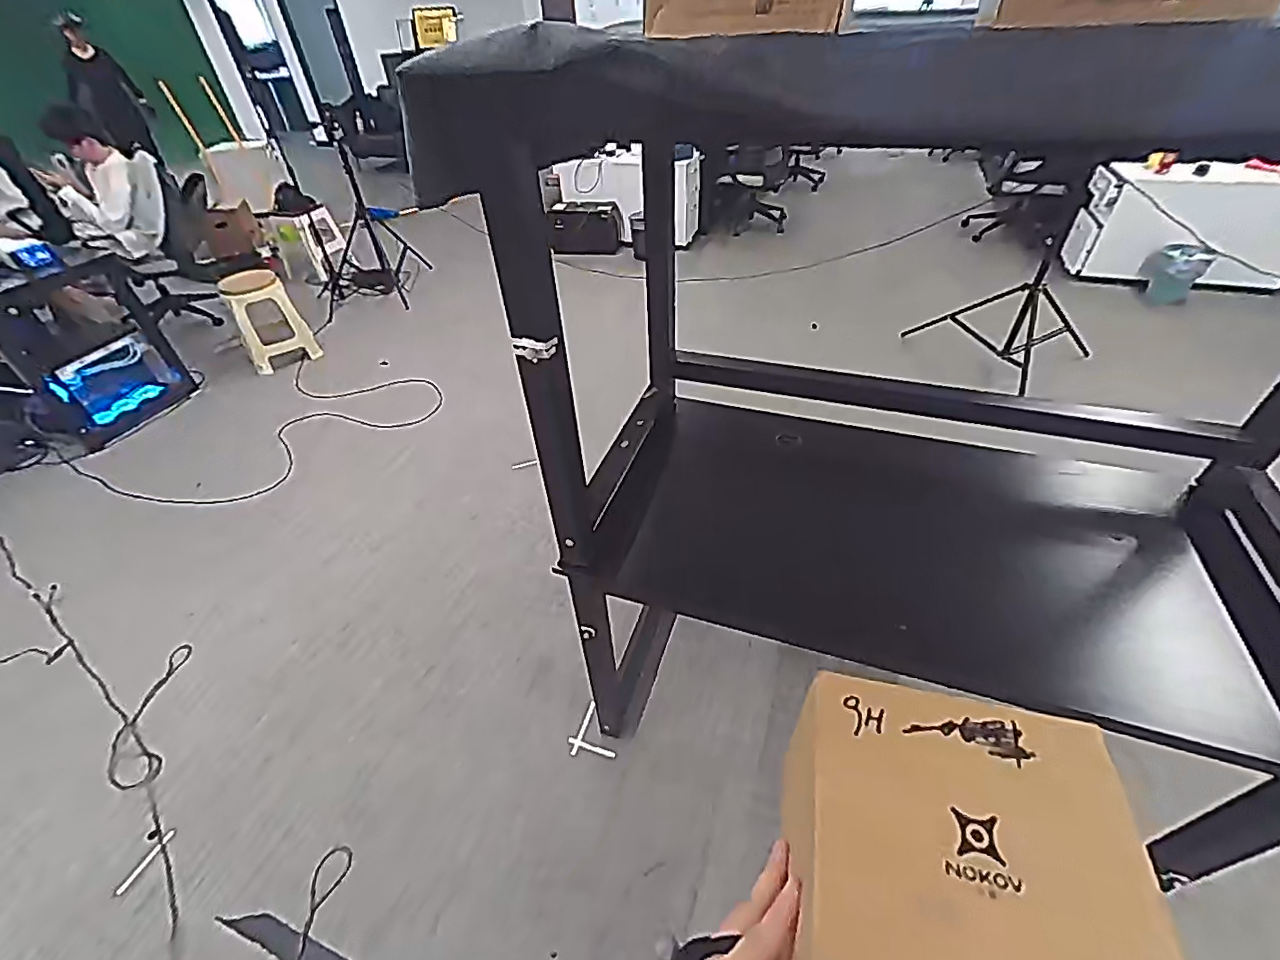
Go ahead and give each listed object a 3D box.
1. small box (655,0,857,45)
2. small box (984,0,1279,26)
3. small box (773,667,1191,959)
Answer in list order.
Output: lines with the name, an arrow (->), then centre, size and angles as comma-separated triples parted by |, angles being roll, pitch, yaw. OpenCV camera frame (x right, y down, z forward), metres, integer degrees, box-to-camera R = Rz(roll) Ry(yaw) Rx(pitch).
small box -> 0.111, -0.485, 0.460 | 0.168, 0.176, 0.179 | 12, 42, 15
small box -> 0.368, -0.433, 0.382 | 0.168, 0.176, 0.179 | 12, 42, 17
small box -> 0.178, 0.248, 0.330 | 0.168, 0.176, 0.179 | 8, 46, 11
